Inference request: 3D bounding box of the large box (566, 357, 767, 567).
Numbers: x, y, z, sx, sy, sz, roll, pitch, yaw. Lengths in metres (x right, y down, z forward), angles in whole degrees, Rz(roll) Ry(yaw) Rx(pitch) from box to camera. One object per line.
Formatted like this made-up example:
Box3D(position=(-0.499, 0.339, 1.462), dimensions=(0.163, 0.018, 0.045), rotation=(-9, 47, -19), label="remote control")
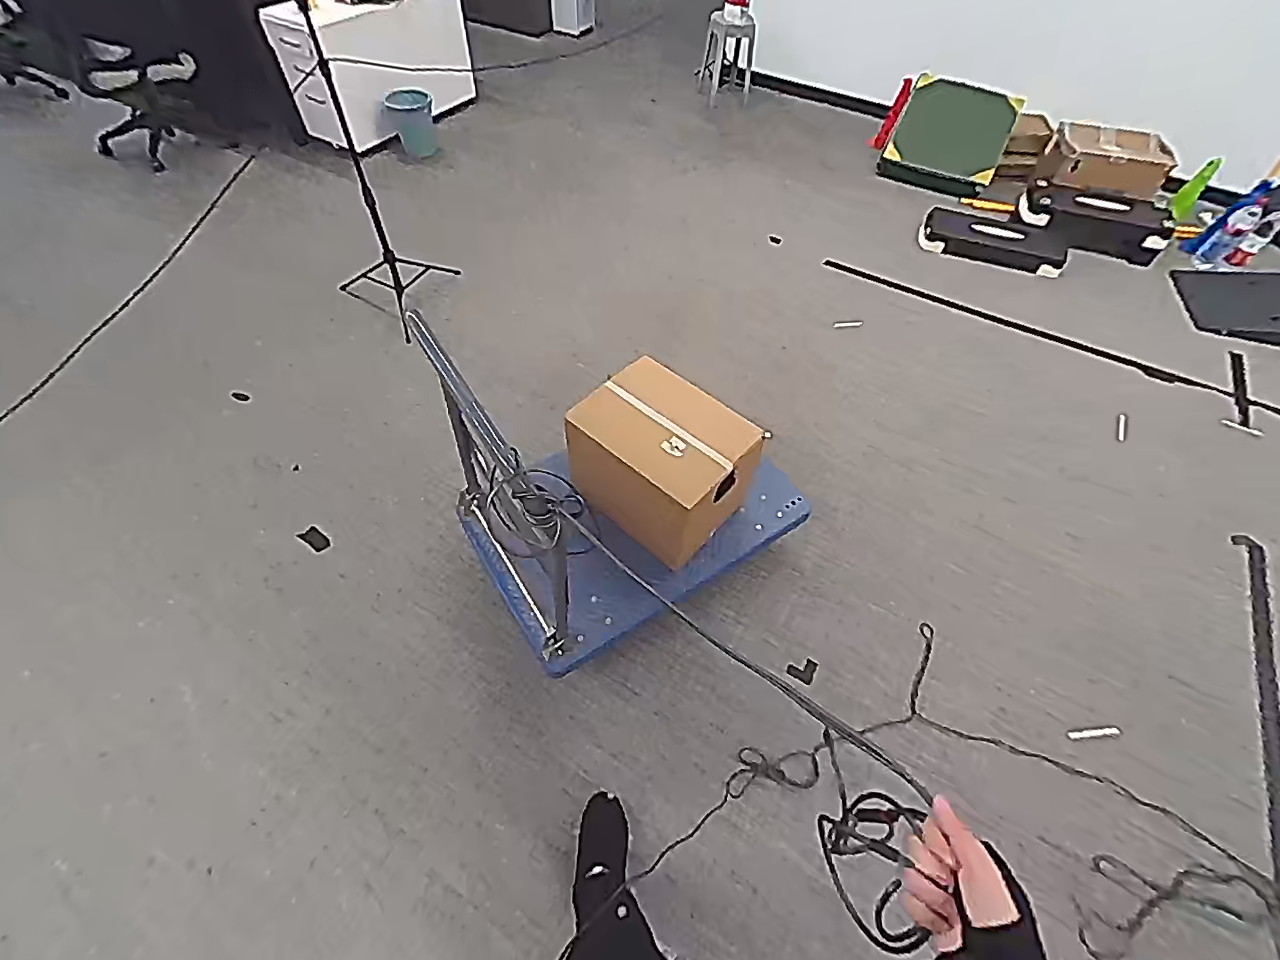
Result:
Box3D(position=(0.054, -0.050, 1.438), dimensions=(0.408, 0.320, 0.320), rotation=(37, 62, 20), label="large box")
